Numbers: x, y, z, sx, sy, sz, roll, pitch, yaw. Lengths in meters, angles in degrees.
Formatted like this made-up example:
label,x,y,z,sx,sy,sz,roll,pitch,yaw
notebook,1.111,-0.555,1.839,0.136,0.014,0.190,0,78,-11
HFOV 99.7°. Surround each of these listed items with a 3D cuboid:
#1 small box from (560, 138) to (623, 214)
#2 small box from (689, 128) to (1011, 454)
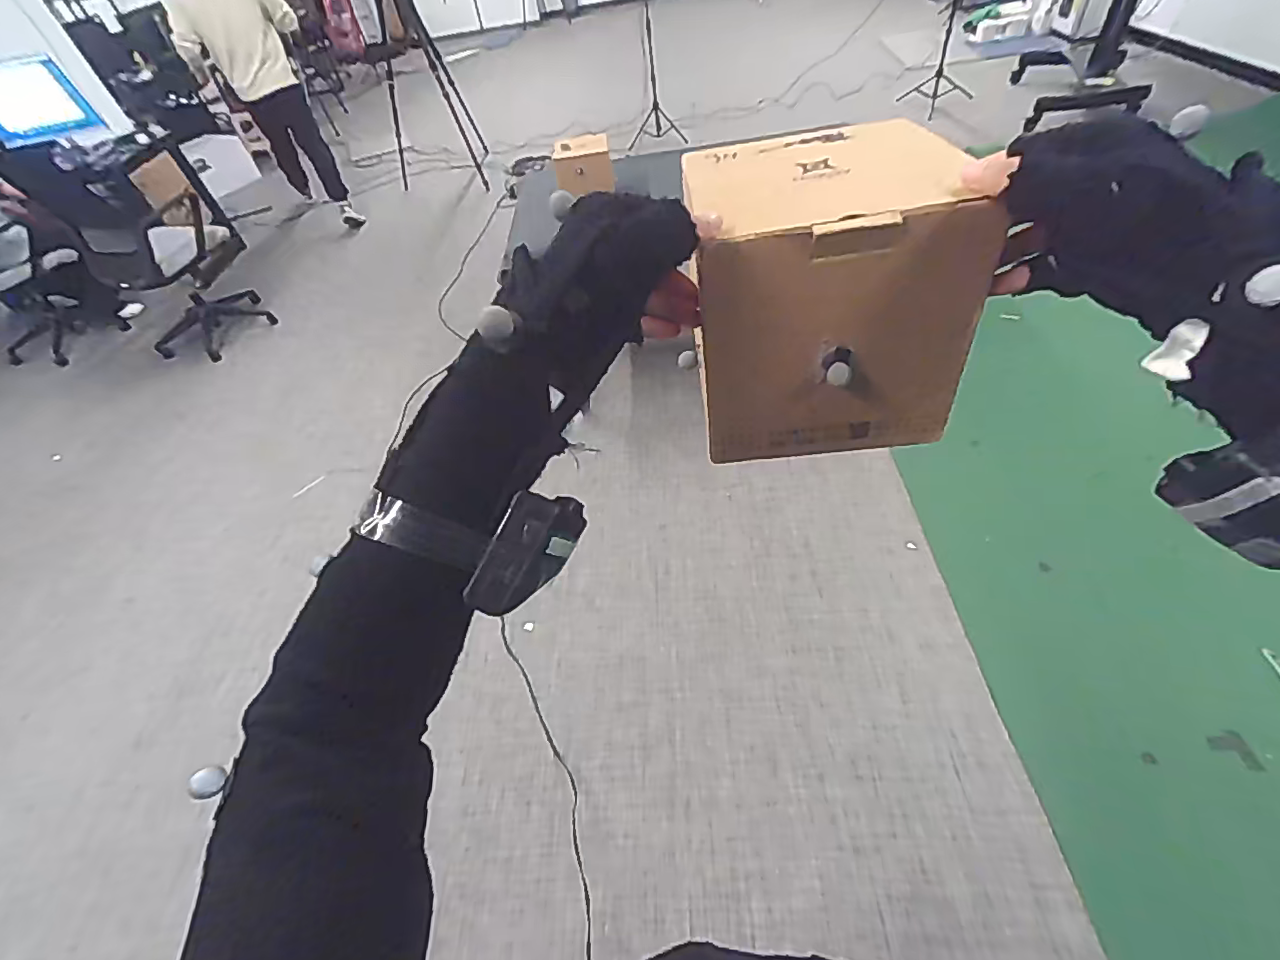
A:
label,x,y,z,sx,sy,sz,roll,pitch,yaw
small box,-0.156,-0.994,1.778,0.179,0.176,0.168,-7,49,2
small box,0.128,-0.132,0.403,0.168,0.176,0.179,-5,44,6
